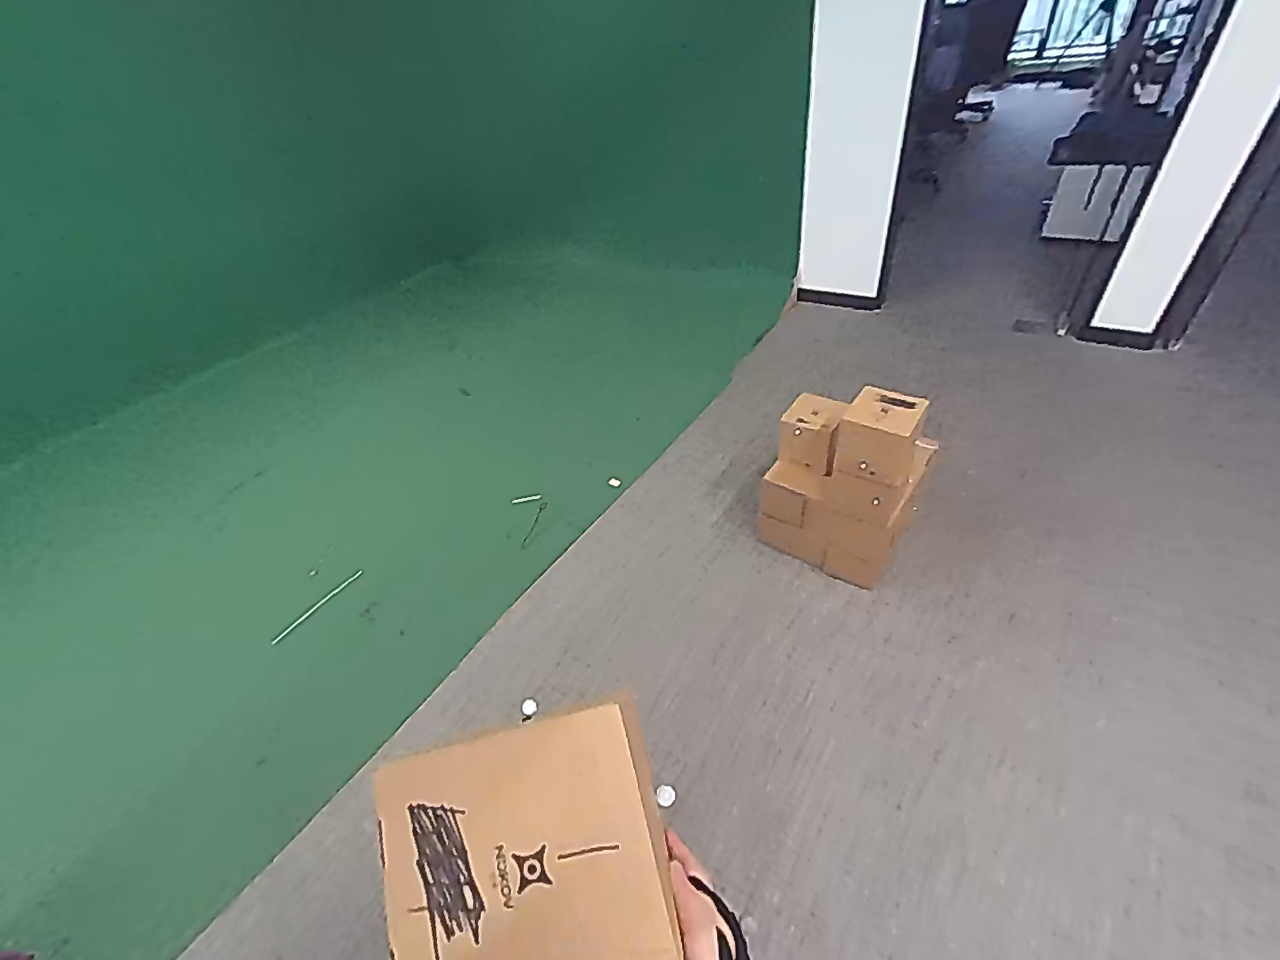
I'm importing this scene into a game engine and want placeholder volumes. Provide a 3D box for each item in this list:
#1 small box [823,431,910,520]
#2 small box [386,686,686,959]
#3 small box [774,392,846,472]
[{"bbox_3d":[0.647,-0.008,1.554,0.179,0.176,0.168,21,49,30],"label":"small box"},{"bbox_3d":[-0.070,0.269,0.426,0.179,0.176,0.168,-14,72,-3],"label":"small box"},{"bbox_3d":[0.542,-0.155,1.739,0.168,0.176,0.179,21,48,31],"label":"small box"}]
